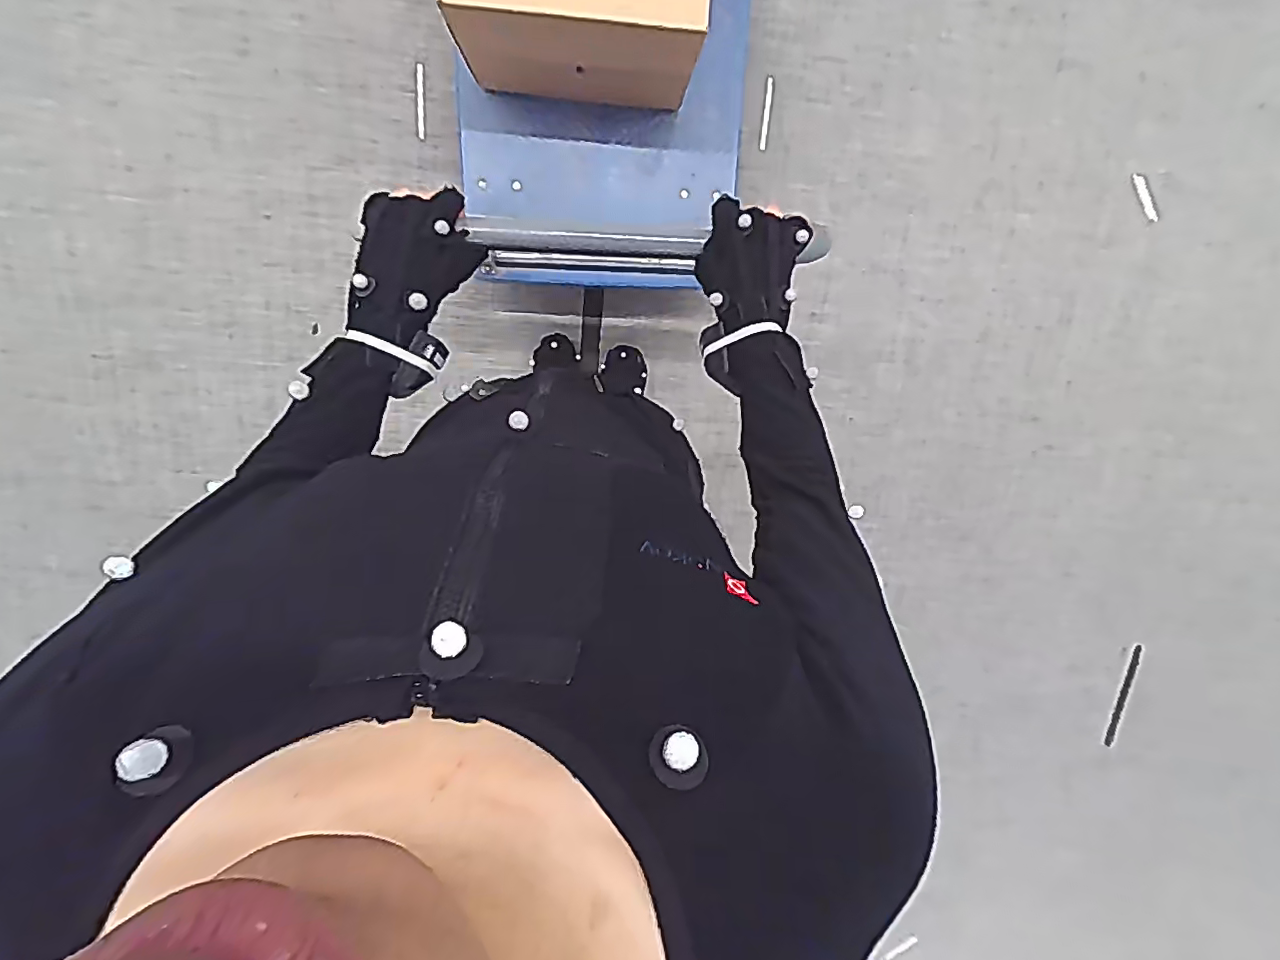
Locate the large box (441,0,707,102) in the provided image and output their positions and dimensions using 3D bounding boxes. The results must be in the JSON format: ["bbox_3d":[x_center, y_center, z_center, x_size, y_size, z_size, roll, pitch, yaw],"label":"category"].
[{"bbox_3d":[-0.097,-0.884,0.917,0.408,0.320,0.320,3,106,-4],"label":"large box"}]
